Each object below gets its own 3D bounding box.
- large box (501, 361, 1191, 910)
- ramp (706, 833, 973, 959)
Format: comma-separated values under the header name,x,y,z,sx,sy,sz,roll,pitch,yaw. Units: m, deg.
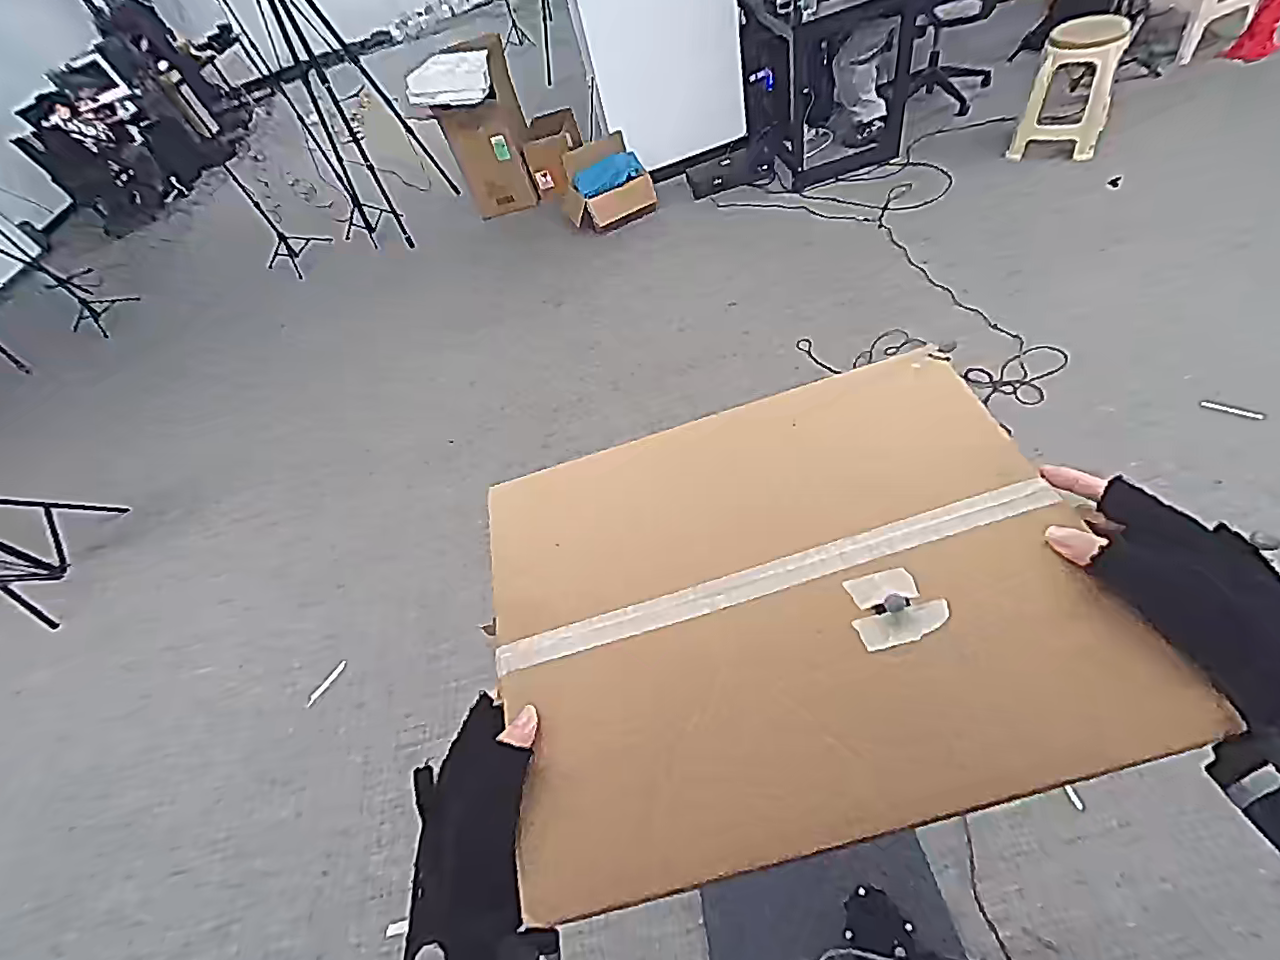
name,x,y,z,sx,sy,sz,roll,pitch,yaw
large box,0.125,0.155,0.521,0.408,0.320,0.320,-18,56,3
ramp,0.422,1.153,0.828,0.509,0.206,0.991,-17,49,6
